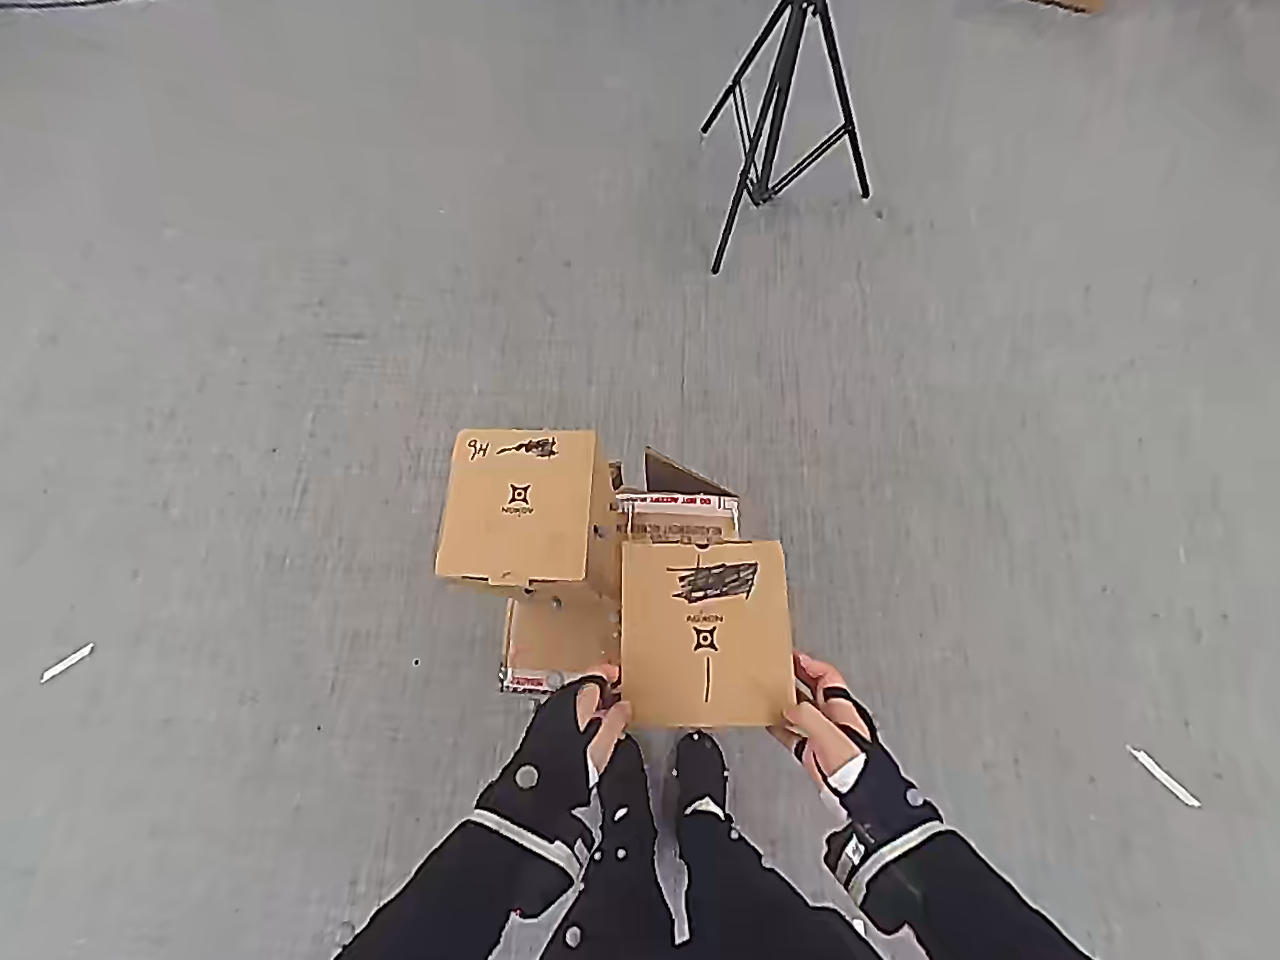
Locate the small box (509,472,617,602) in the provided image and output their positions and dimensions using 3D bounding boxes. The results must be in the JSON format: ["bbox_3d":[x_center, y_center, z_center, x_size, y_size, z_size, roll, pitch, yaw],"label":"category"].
[{"bbox_3d":[-0.127,0.092,0.841,0.168,0.176,0.179,0,73,4],"label":"small box"}]

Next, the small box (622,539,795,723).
[{"bbox_3d":[0.063,0.170,0.606,0.168,0.176,0.179,-1,72,0],"label":"small box"}]

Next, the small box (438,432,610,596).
[{"bbox_3d":[-0.131,0.051,0.681,0.168,0.176,0.179,1,73,4],"label":"small box"}]
